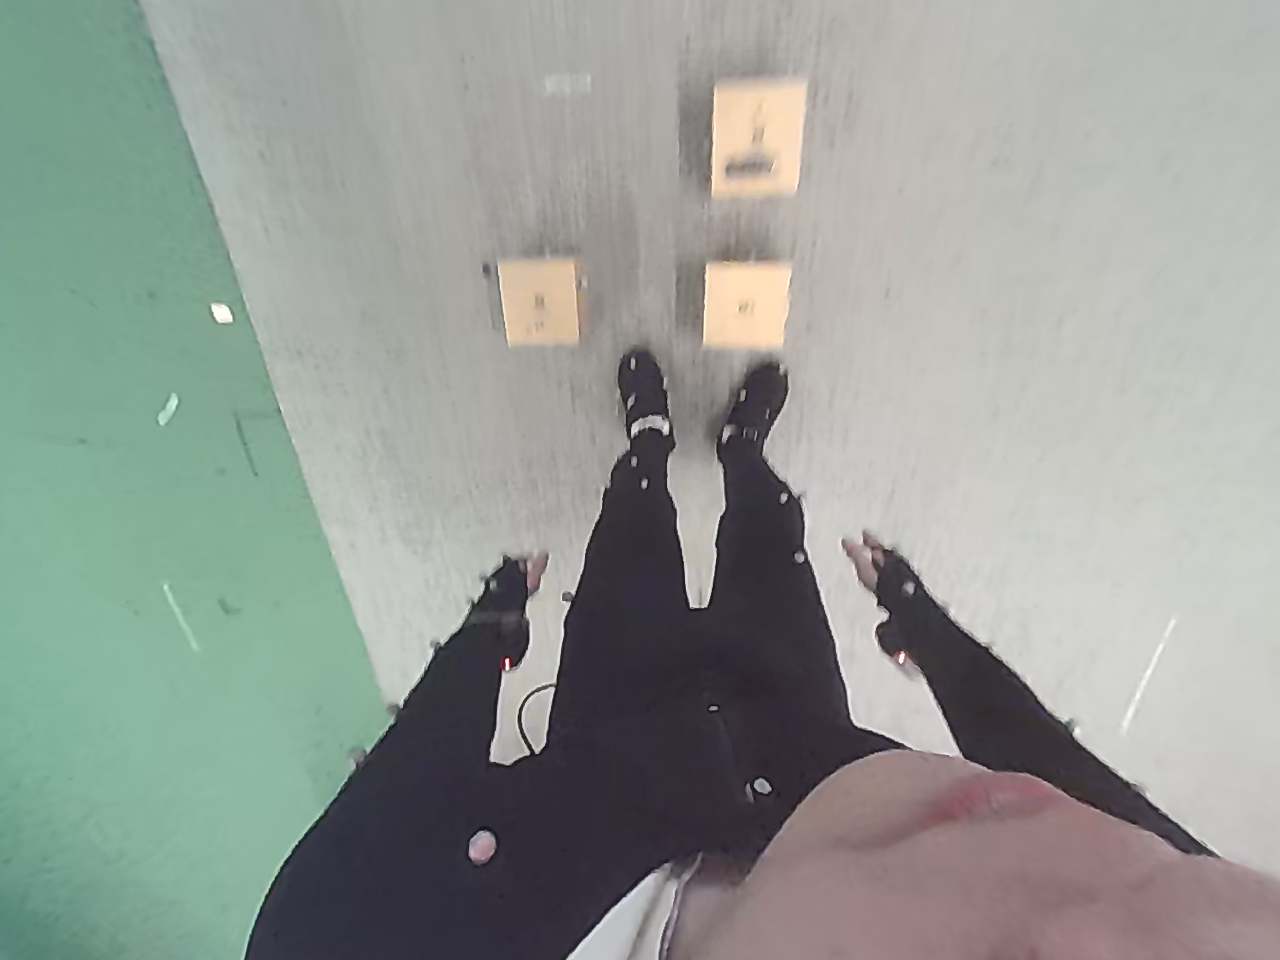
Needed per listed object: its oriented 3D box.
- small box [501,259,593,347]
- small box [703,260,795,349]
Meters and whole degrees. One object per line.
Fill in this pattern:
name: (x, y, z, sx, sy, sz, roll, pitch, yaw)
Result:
small box: (-0.203, -0.406, 1.224, 0.168, 0.176, 0.179, 1, 115, 6)
small box: (0.230, -0.389, 1.190, 0.179, 0.176, 0.168, 1, 116, 4)
